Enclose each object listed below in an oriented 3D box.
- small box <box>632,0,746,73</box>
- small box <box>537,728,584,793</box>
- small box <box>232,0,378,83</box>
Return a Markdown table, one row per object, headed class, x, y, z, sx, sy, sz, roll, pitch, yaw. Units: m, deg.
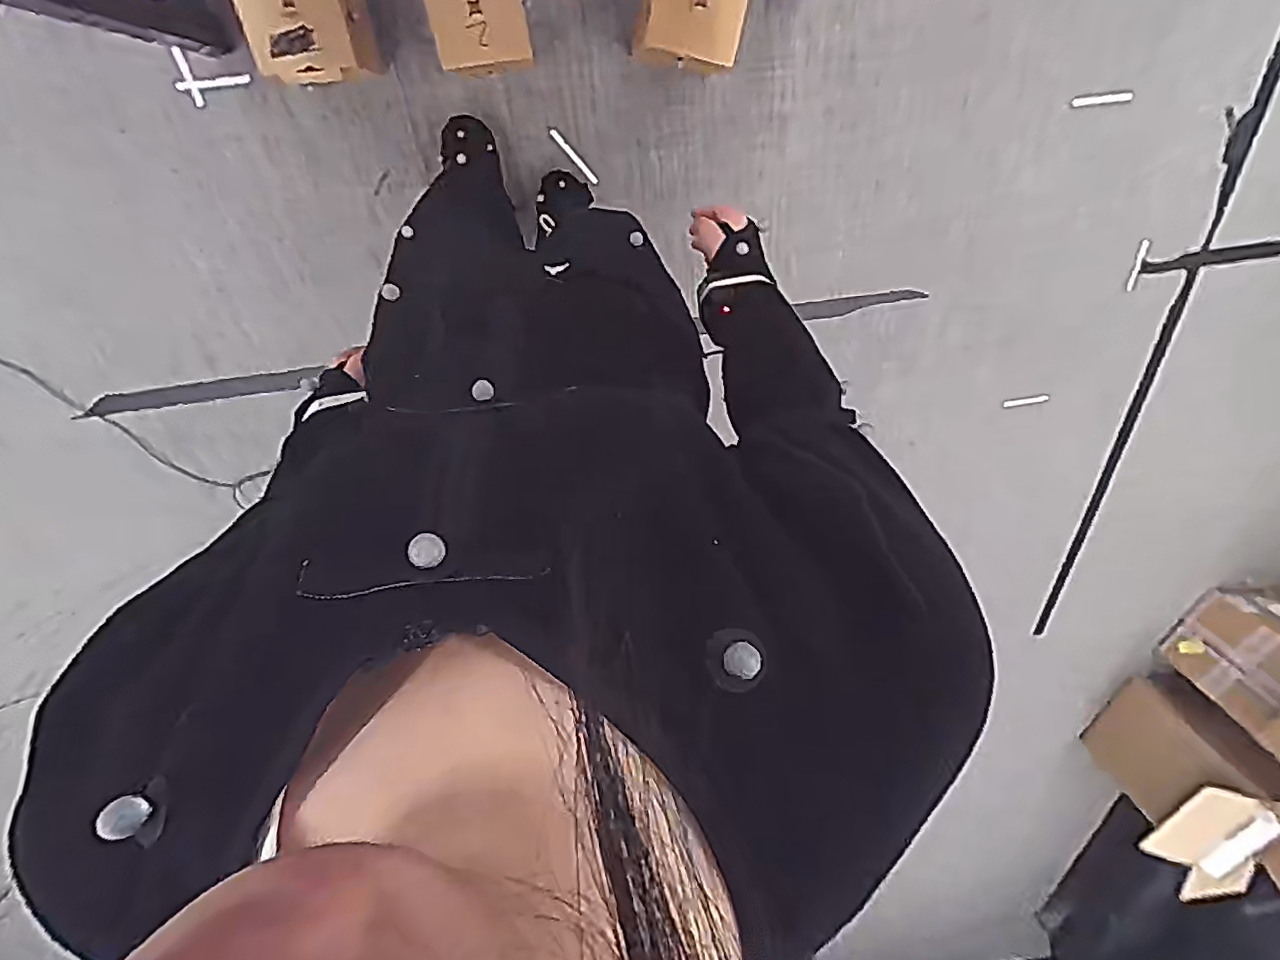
| class | x | y | z | sx | sy | sz | roll | pitch | yaw |
| --- | --- | --- | --- | --- | --- | --- | --- | --- | --- |
| small box | 0.092 | -0.898 | 1.031 | 0.179 | 0.176 | 0.168 | 5 | 121 | -12 |
| small box | -0.332 | 1.169 | 2.260 | 0.168 | 0.176 | 0.179 | -11 | 124 | -3 |
| small box | -0.590 | -0.819 | 0.957 | 0.168 | 0.176 | 0.179 | -9 | 122 | -5 |
